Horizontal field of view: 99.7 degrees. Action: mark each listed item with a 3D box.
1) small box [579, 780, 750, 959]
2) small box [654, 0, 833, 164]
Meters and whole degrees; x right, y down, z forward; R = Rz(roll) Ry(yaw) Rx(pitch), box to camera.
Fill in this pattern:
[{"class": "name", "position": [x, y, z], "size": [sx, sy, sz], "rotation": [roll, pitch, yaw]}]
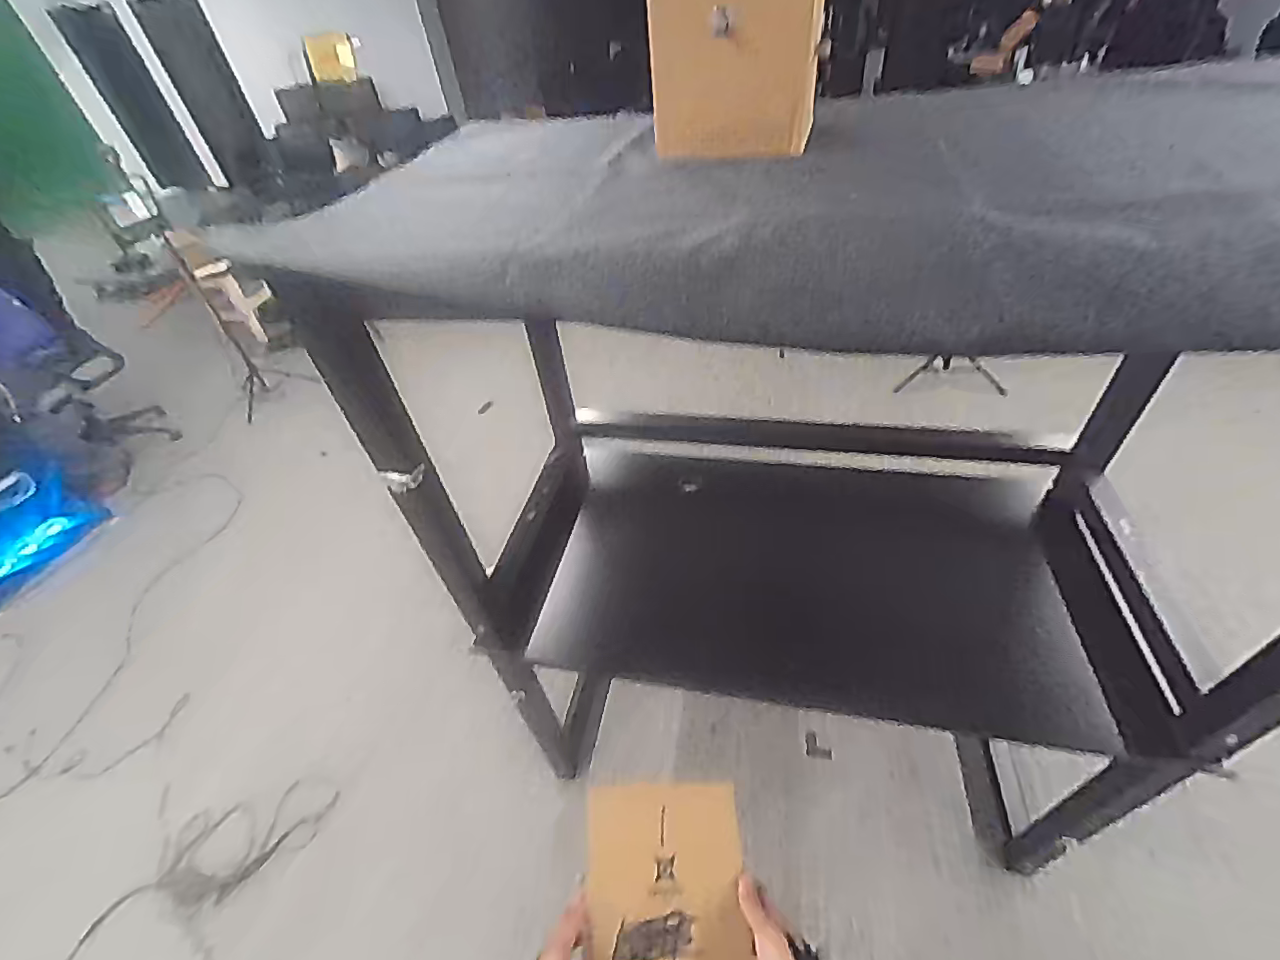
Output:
[{"class": "small box", "position": [0.020, 0.456, 0.614], "size": [0.168, 0.176, 0.179], "rotation": [0, 50, -3]}, {"class": "small box", "position": [0.127, -0.491, 0.642], "size": [0.179, 0.176, 0.168], "rotation": [8, 45, 17]}]
